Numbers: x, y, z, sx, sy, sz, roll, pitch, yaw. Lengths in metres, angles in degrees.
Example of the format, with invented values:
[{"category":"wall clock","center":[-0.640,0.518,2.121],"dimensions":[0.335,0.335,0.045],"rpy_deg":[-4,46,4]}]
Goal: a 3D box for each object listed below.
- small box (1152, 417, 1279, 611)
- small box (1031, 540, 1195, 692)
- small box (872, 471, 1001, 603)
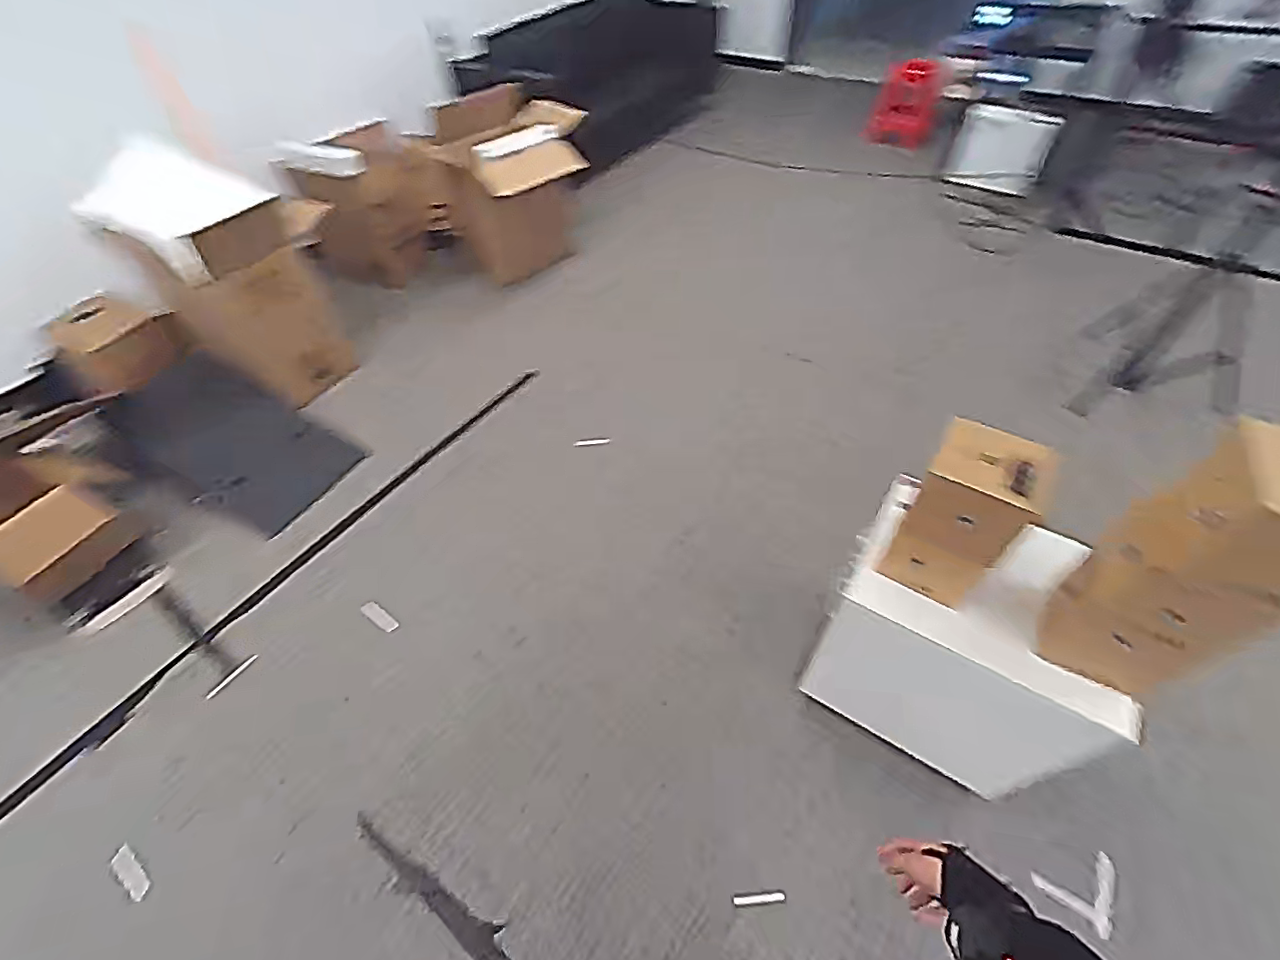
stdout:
[{"category":"small box","center":[0.840,0.051,0.723],"dimensions":[0.168,0.176,0.179],"rpy_deg":[20,54,18]},{"category":"small box","center":[0.849,0.249,0.985],"dimensions":[0.168,0.176,0.179],"rpy_deg":[23,54,22]},{"category":"small box","center":[0.597,0.120,1.109],"dimensions":[0.168,0.176,0.179],"rpy_deg":[26,56,22]}]
